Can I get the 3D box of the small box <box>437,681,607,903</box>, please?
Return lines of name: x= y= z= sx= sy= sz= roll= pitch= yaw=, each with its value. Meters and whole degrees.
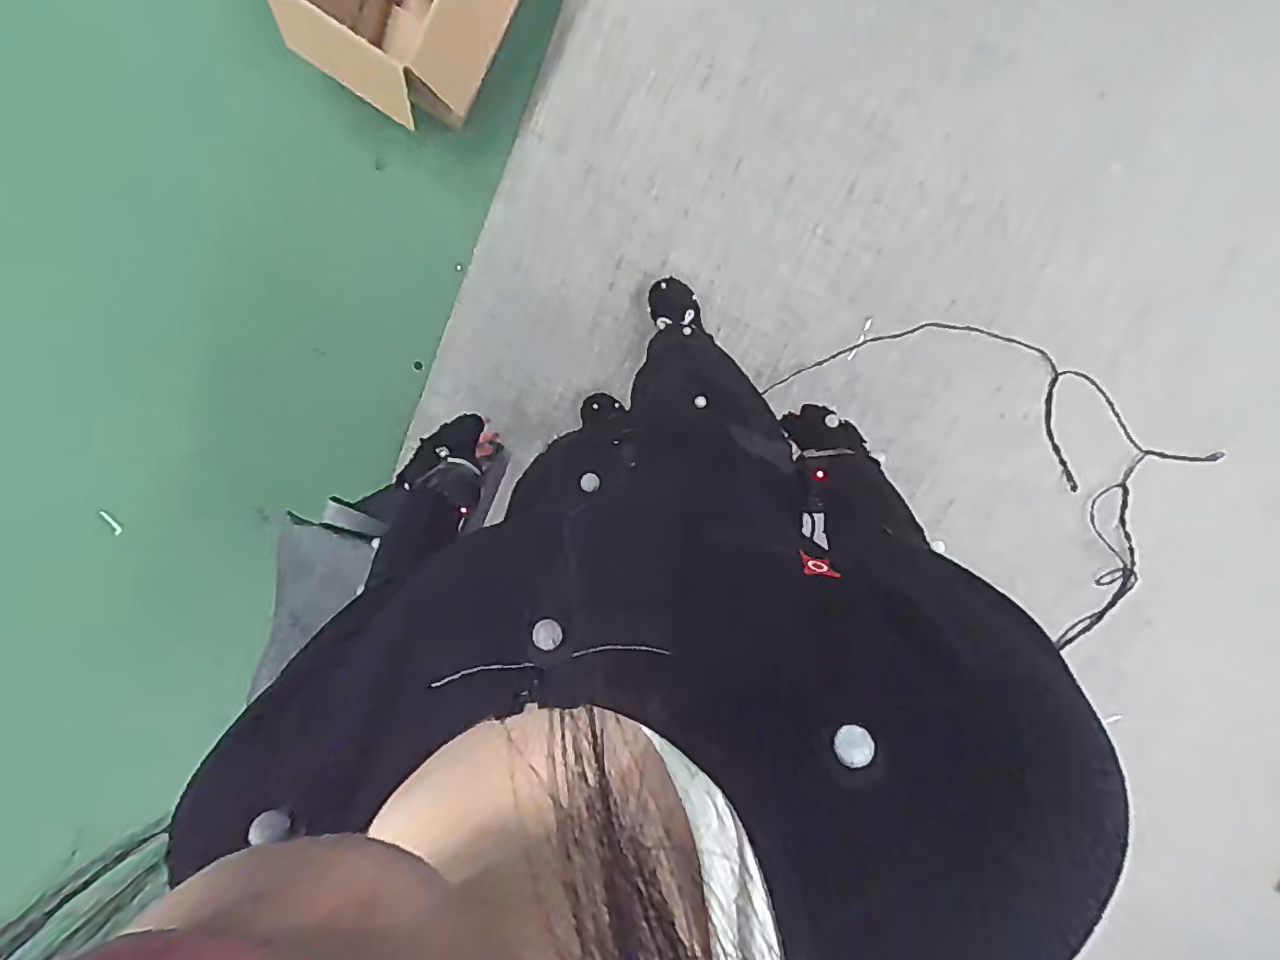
small box: x=-0.150 y=0.421 z=0.750 sx=0.168 sy=0.176 sz=0.179 roll=23 pitch=102 yaw=-6

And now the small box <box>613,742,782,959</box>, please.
small box: x=0.072 y=0.517 z=0.771 sx=0.168 sy=0.176 sz=0.179 roll=25 pitch=102 yaw=-5
